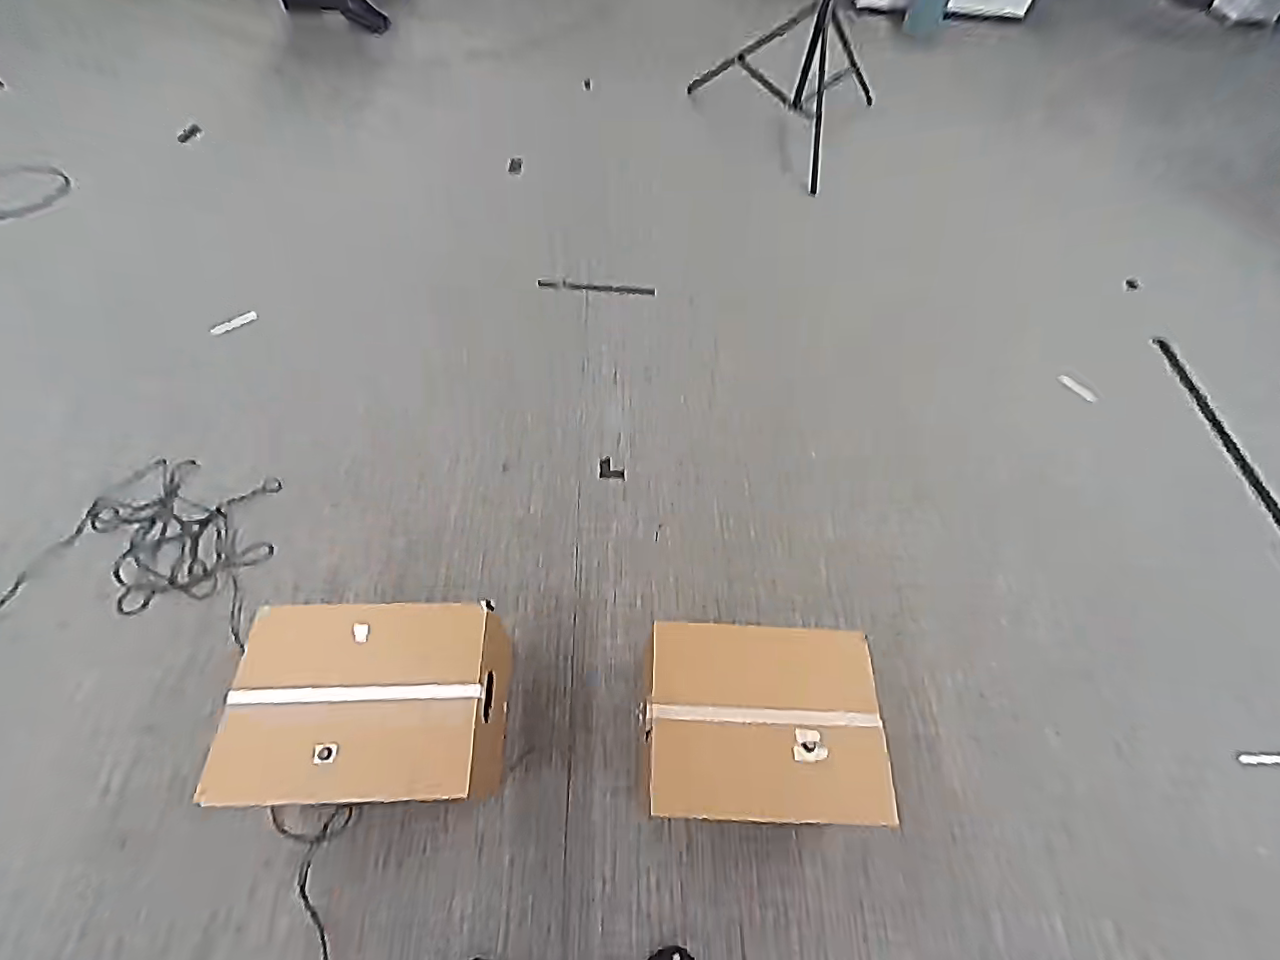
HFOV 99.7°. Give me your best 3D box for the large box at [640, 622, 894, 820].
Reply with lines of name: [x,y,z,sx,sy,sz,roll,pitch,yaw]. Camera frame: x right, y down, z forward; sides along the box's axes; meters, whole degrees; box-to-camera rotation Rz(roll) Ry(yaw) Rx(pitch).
large box: [0.211,0.487,1.076,0.408,0.320,0.320,4,60,-3]
